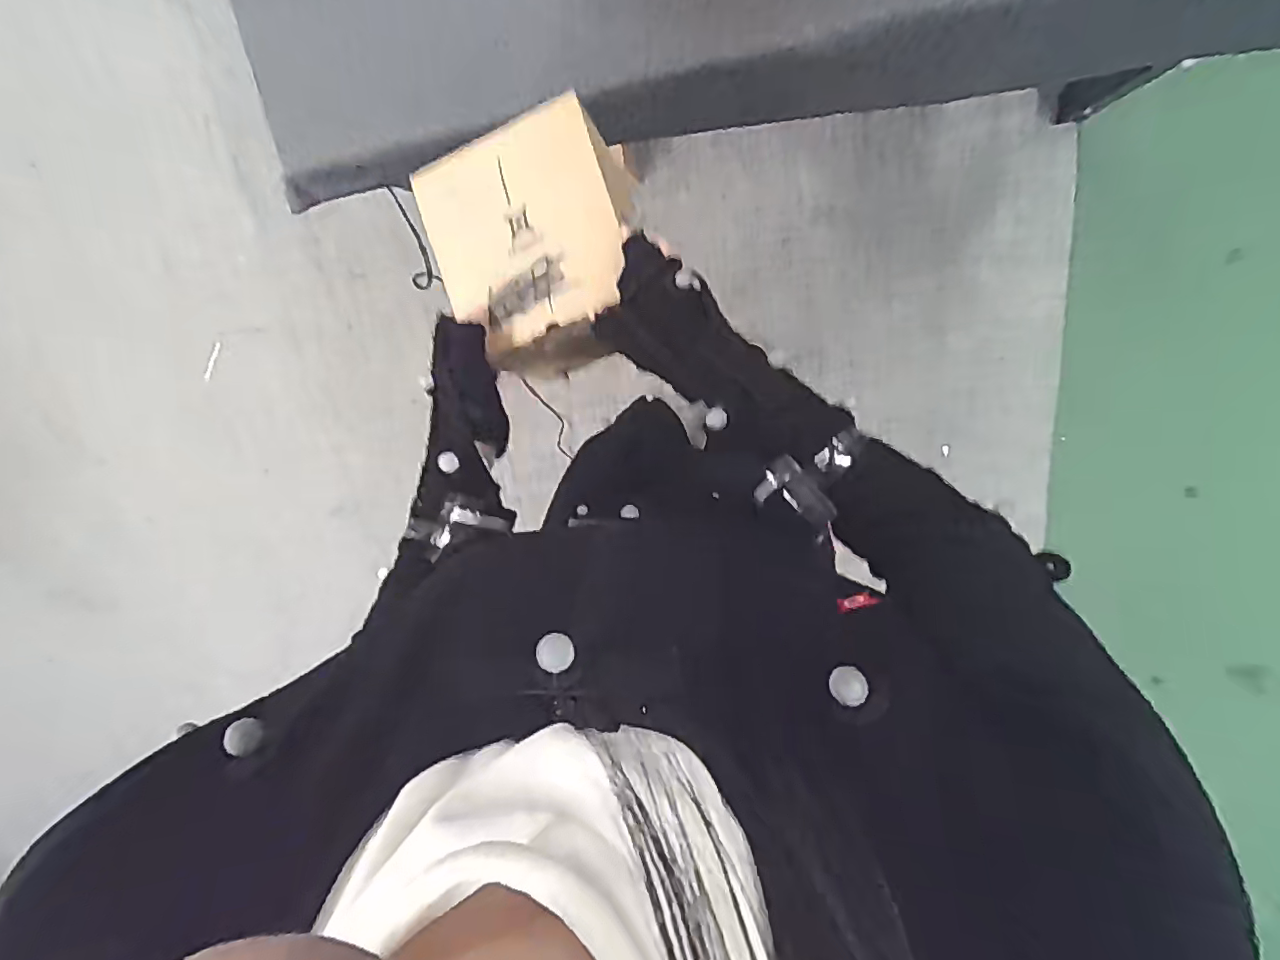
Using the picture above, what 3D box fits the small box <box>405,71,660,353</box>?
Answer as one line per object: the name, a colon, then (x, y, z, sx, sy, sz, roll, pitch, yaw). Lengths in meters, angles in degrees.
small box: (-0.088, -0.233, 0.532, 0.168, 0.176, 0.179, -17, 91, 13)
